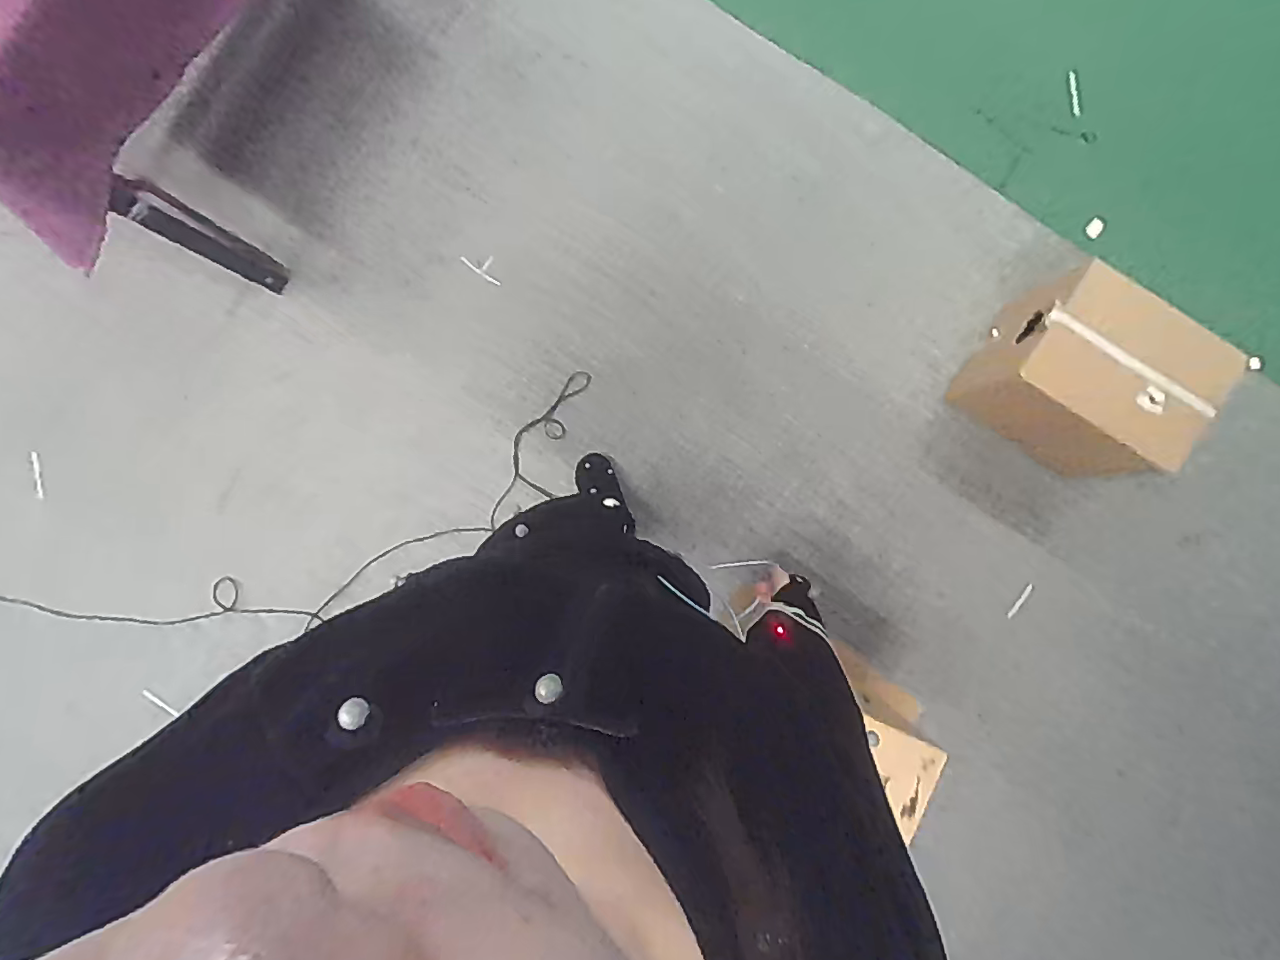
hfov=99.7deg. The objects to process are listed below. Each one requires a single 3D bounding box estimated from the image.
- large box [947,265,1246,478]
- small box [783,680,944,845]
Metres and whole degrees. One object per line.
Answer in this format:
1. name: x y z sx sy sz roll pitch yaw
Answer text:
1. large box: 1.076 -0.239 1.328 0.408 0.320 0.320 35 90 1
2. small box: 0.369 0.468 0.932 0.179 0.176 0.168 26 88 2
